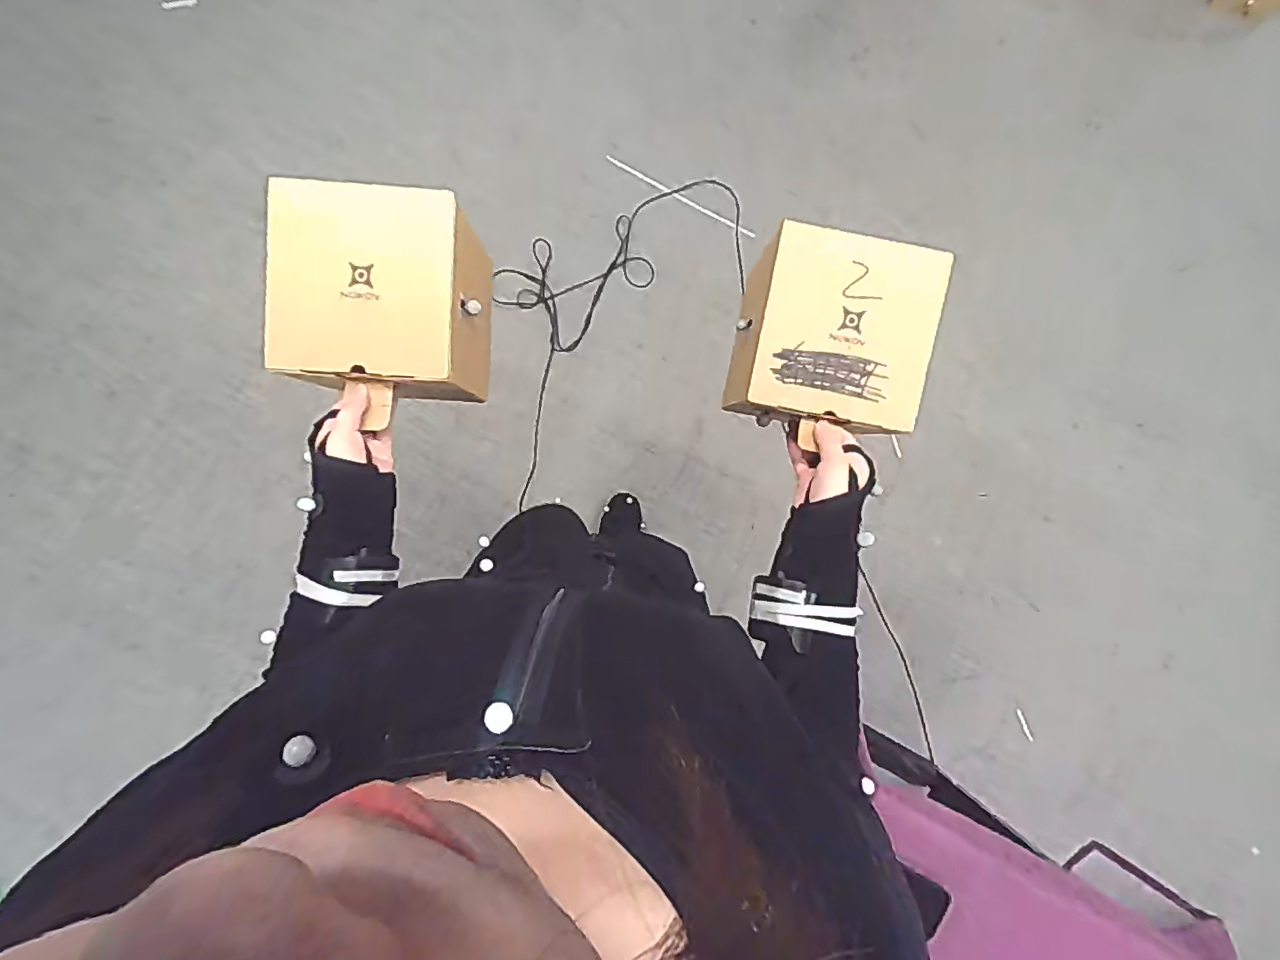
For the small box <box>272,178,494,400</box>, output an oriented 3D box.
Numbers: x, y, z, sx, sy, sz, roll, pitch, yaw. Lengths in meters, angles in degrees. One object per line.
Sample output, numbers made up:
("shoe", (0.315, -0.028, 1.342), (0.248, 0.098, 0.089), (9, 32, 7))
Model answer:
("small box", (-0.257, -0.187, 0.580), (0.168, 0.176, 0.179), (3, 92, -4))
